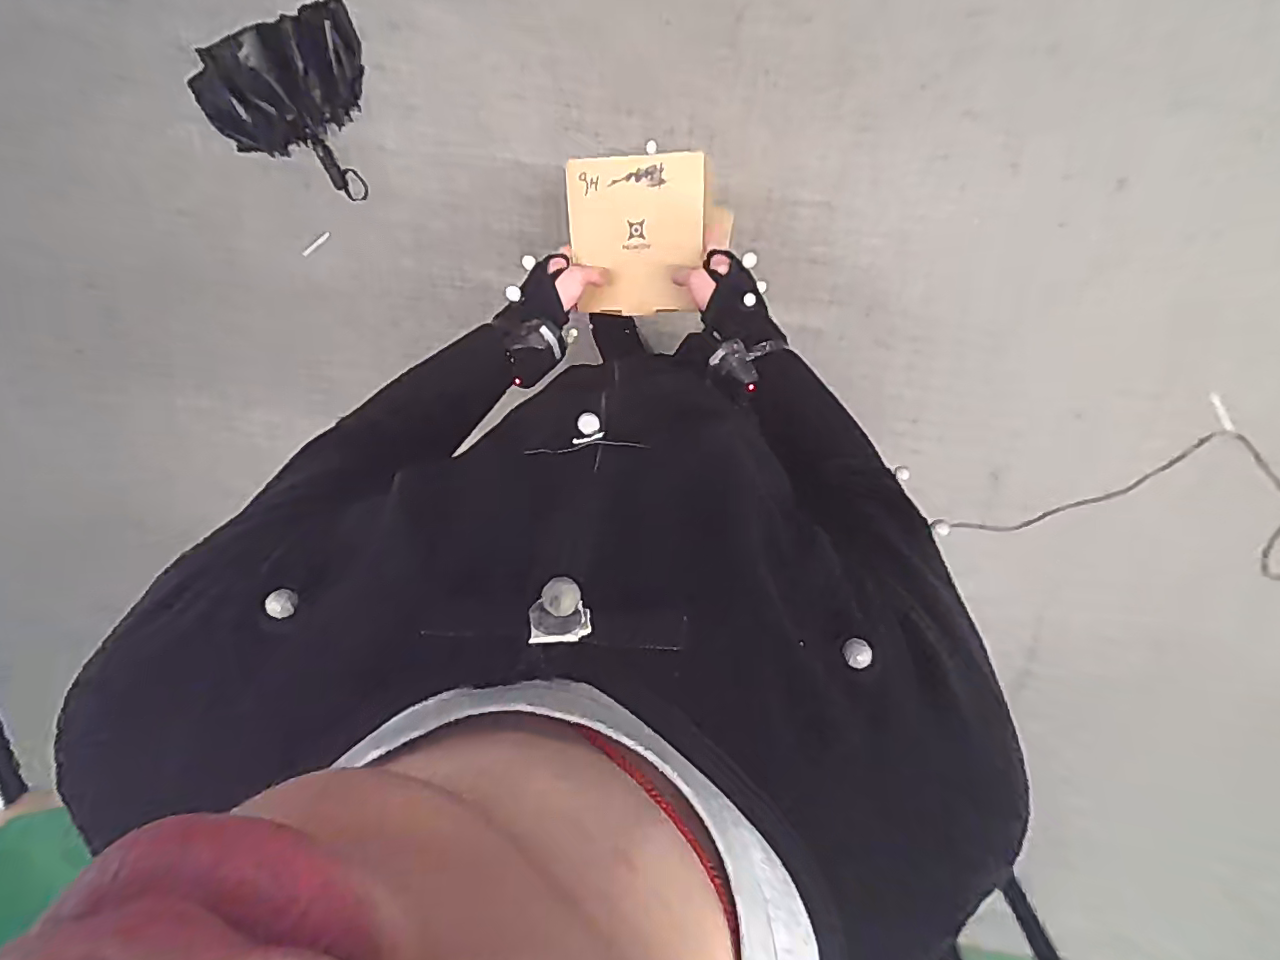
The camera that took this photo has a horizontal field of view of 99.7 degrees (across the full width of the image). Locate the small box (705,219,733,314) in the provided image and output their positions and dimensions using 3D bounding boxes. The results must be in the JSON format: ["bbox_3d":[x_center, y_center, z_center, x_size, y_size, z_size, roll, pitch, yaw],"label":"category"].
[{"bbox_3d":[0.094,-0.461,1.149,0.168,0.176,0.179,9,111,0],"label":"small box"}]

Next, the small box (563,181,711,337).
[{"bbox_3d":[0.008,-0.299,0.725,0.168,0.176,0.179,2,117,11],"label":"small box"}]
